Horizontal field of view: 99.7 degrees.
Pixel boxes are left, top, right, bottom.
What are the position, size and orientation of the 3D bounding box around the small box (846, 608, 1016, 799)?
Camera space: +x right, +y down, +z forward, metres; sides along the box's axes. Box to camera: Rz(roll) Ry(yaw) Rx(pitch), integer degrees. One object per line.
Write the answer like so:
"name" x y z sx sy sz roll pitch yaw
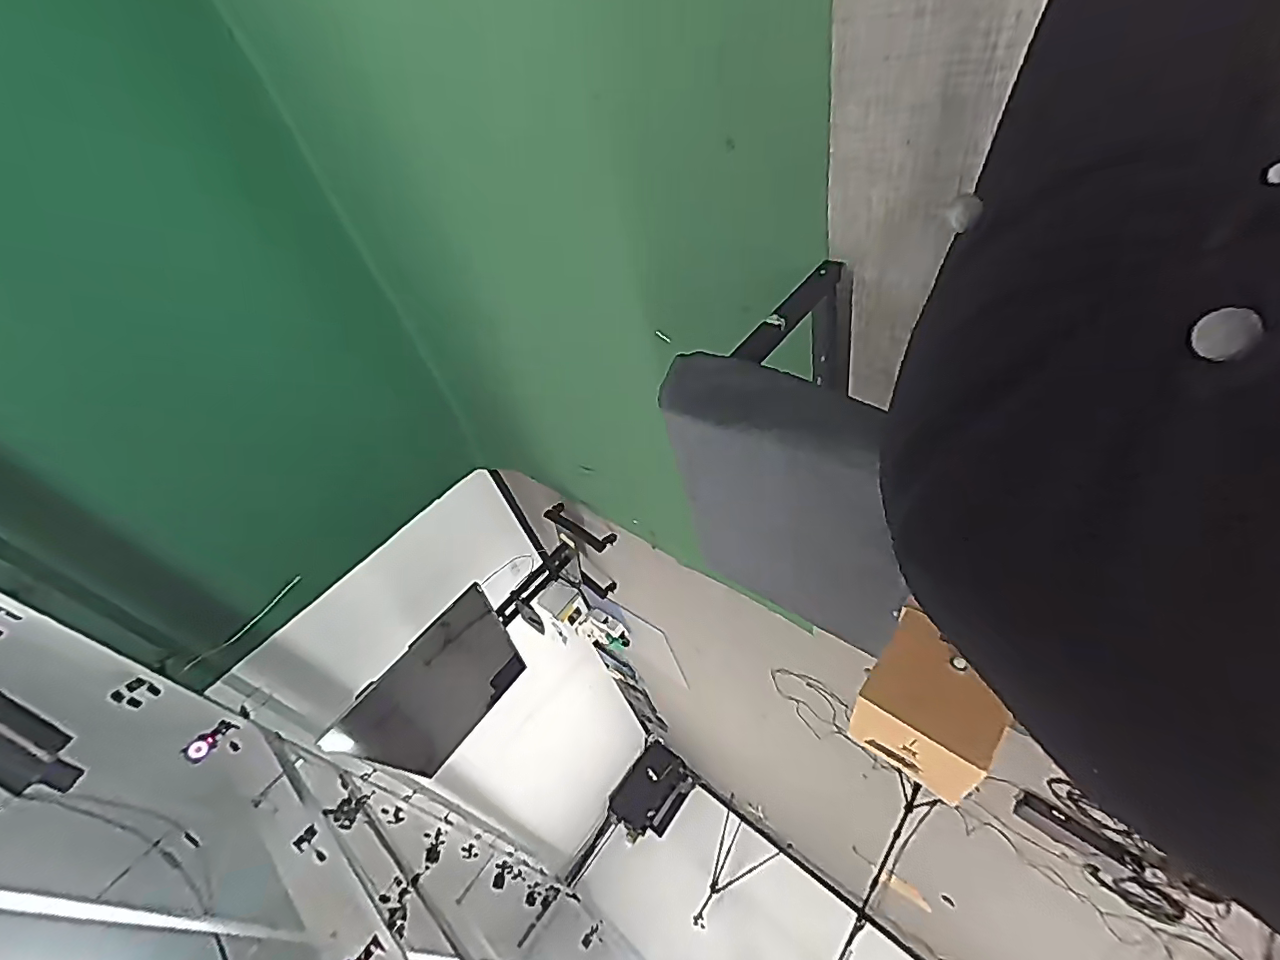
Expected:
"small box" 0.425 0.326 0.803 0.168 0.176 0.179 26 151 36
